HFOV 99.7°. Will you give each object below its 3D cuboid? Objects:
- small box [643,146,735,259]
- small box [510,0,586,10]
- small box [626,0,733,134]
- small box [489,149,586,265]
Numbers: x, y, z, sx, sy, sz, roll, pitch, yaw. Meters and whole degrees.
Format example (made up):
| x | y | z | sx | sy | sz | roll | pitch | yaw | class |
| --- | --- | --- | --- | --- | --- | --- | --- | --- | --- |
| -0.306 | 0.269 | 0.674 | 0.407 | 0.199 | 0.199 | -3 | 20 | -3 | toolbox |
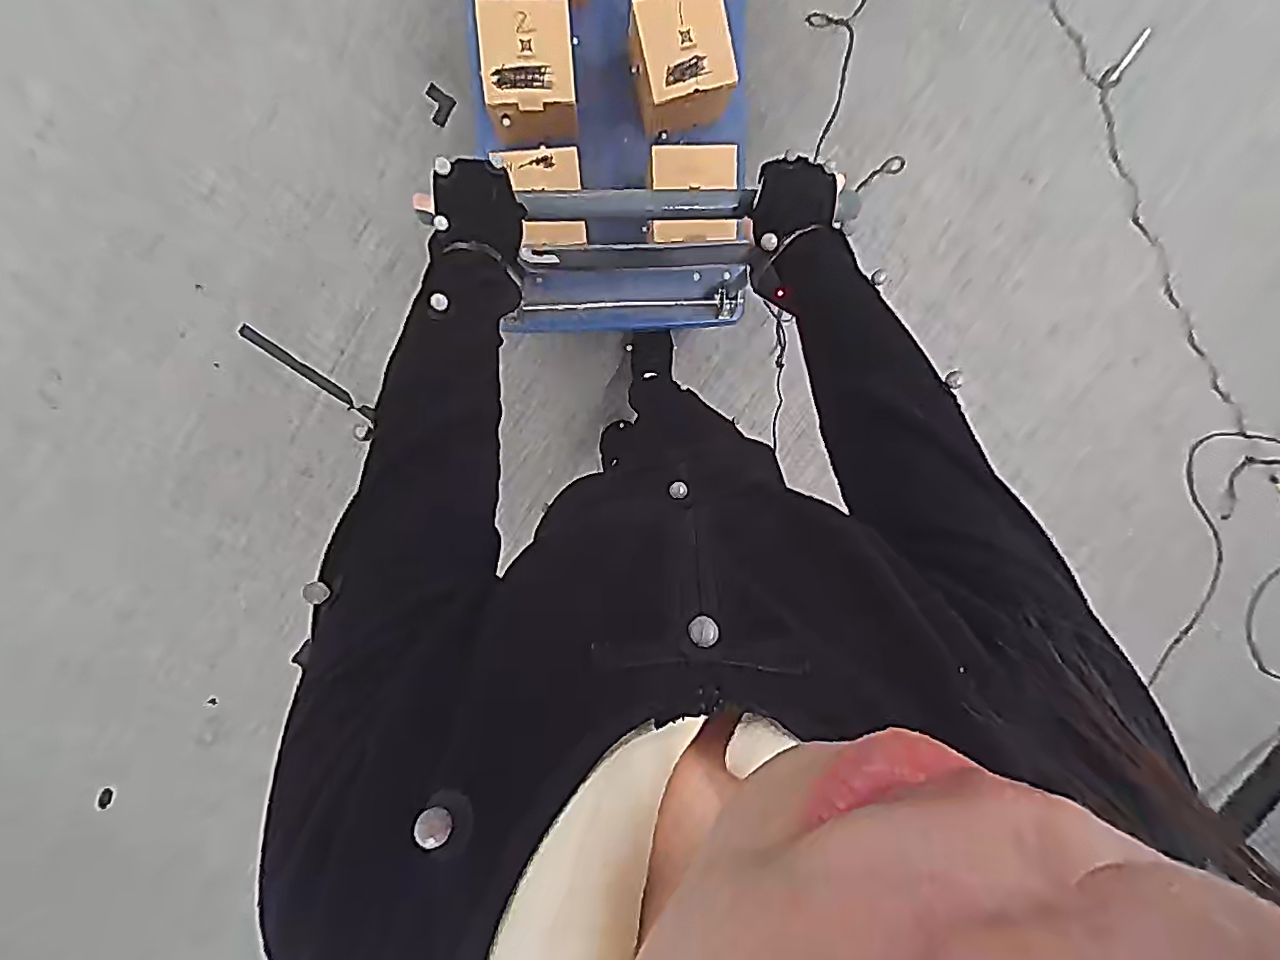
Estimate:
| x | y | z | sx | sy | sz | roll | pitch | yaw | class |
| --- | --- | --- | --- | --- | --- | --- | --- | --- | --- |
| 0.097 | -0.566 | 1.122 | 0.168 | 0.176 | 0.179 | -3 | 100 | -5 | small box |
| -0.185 | -1.033 | 1.007 | 0.168 | 0.176 | 0.179 | -1 | 102 | -4 | small box |
| 0.072 | -0.818 | 1.072 | 0.168 | 0.176 | 0.179 | -15 | 101 | -2 | small box |
| -0.200 | -0.543 | 1.102 | 0.168 | 0.176 | 0.179 | -7 | 102 | -4 | small box |
